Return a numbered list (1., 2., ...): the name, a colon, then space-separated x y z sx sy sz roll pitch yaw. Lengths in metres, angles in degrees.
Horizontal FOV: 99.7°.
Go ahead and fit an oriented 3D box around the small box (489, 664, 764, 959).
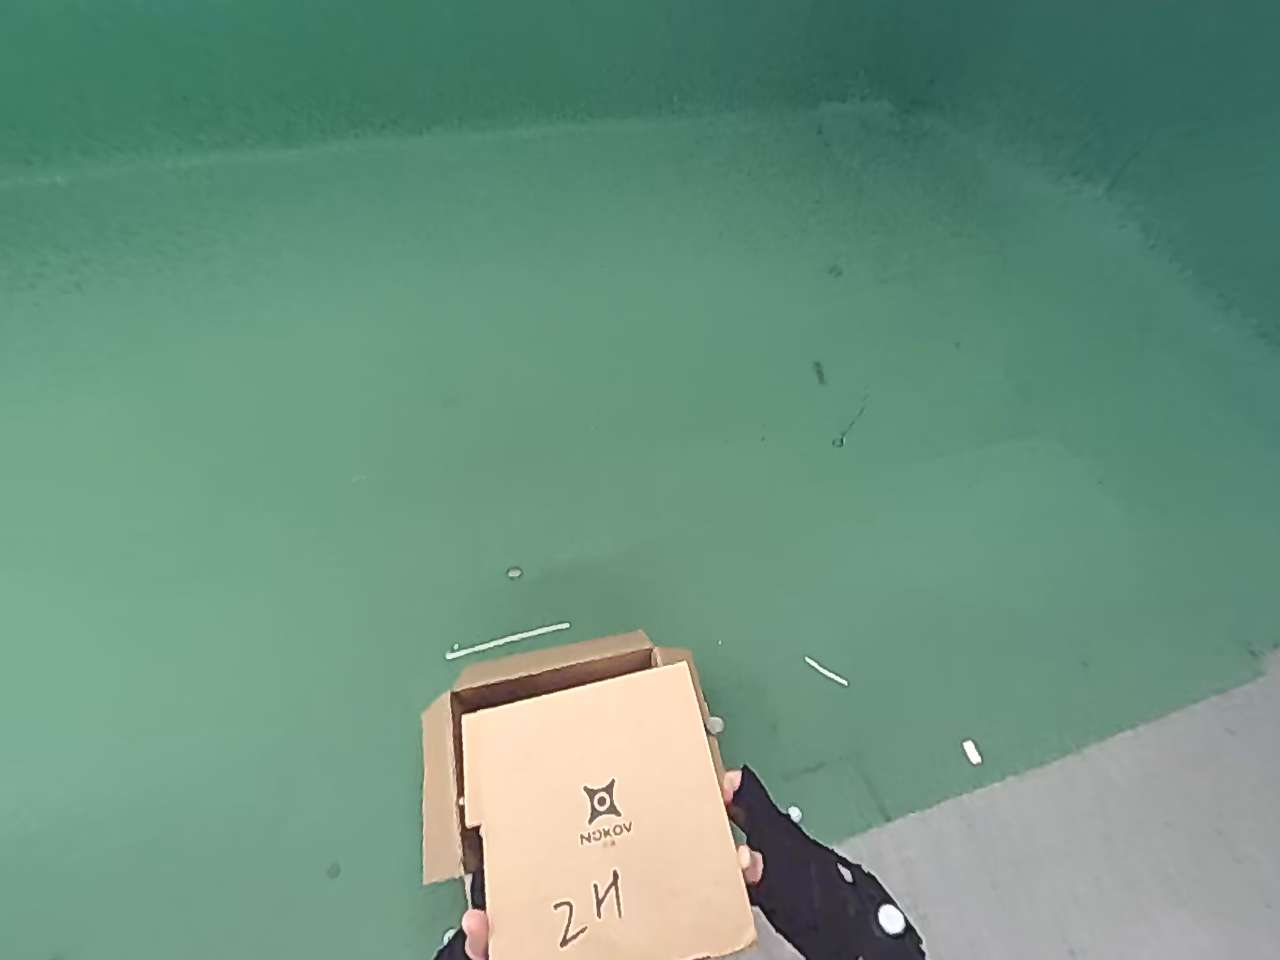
1. small box: -0.014 0.269 0.433 0.168 0.176 0.179 -12 58 -2
